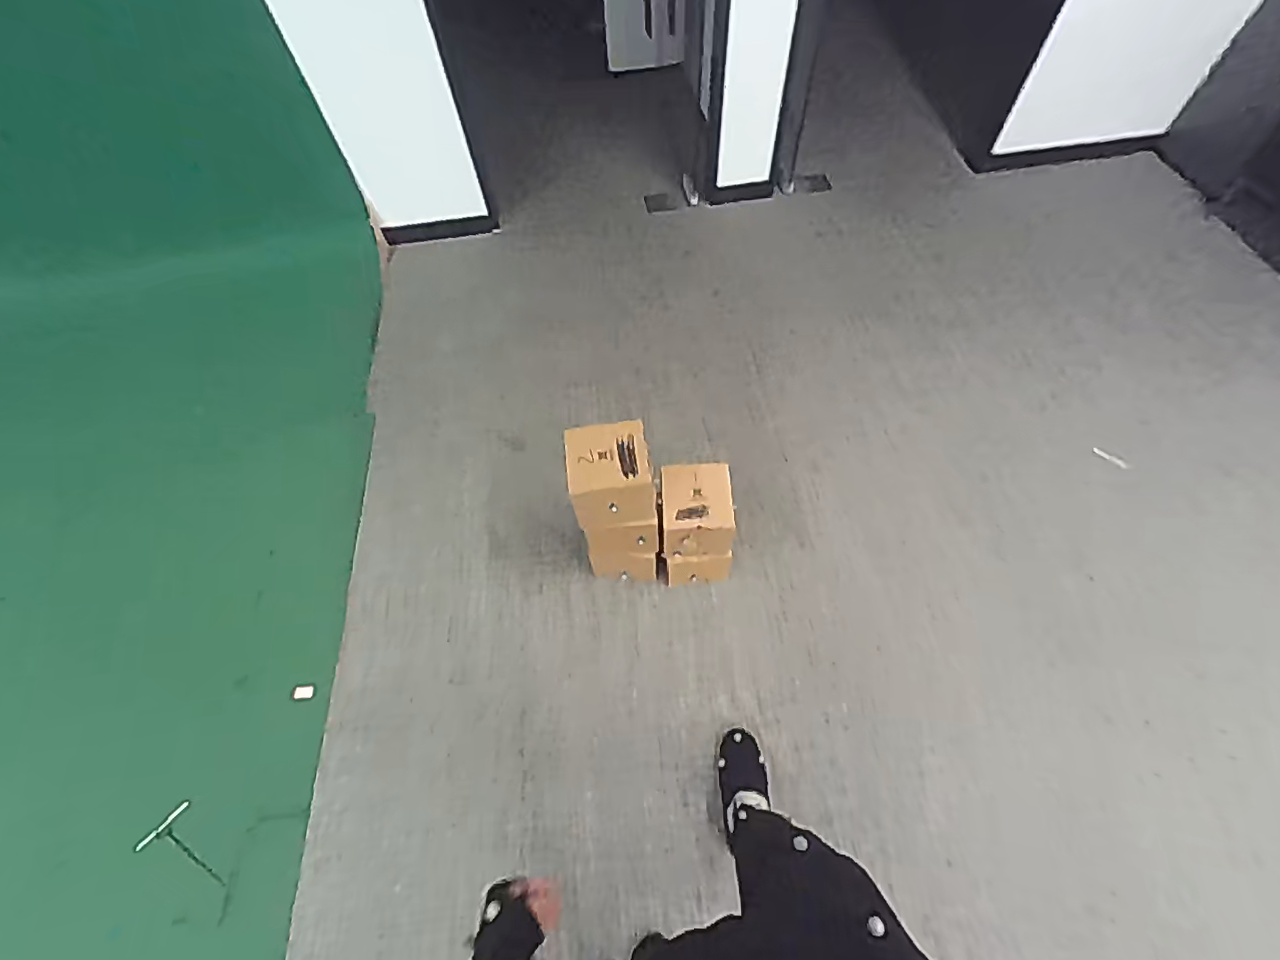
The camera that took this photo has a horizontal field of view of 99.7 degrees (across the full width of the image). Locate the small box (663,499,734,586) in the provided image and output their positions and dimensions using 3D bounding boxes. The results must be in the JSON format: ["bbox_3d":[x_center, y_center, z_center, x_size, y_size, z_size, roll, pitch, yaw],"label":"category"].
[{"bbox_3d":[0.152,0.172,1.476,0.168,0.176,0.179,-7,61,-1],"label":"small box"}]
